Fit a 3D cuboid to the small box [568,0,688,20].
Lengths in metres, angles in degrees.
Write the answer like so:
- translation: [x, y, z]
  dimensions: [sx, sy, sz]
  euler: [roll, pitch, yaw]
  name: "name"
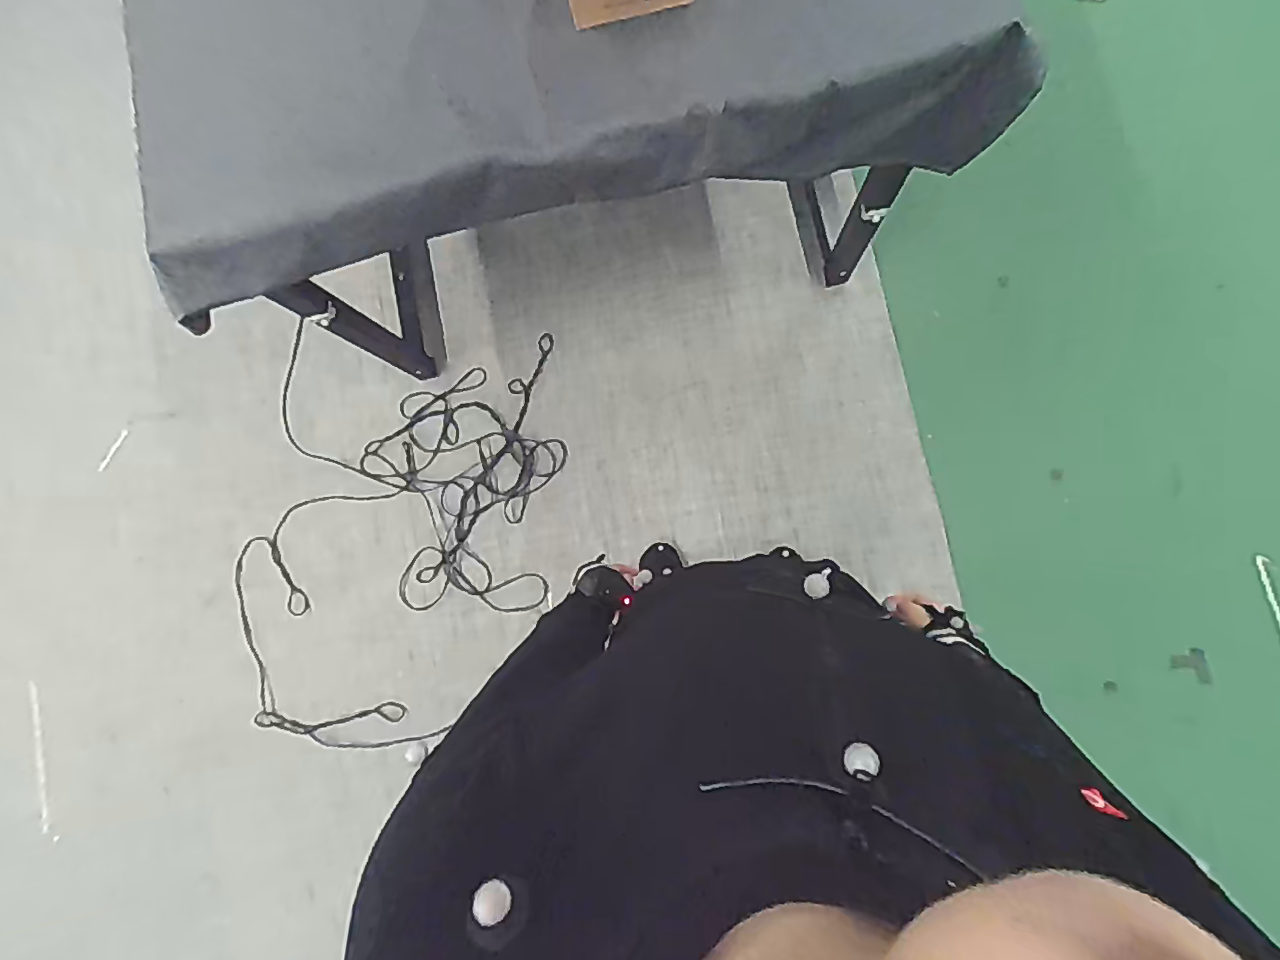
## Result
- translation: [-0.028, -0.713, 0.659]
  dimensions: [0.168, 0.176, 0.179]
  euler: [-9, 82, 4]
  name: "small box"
